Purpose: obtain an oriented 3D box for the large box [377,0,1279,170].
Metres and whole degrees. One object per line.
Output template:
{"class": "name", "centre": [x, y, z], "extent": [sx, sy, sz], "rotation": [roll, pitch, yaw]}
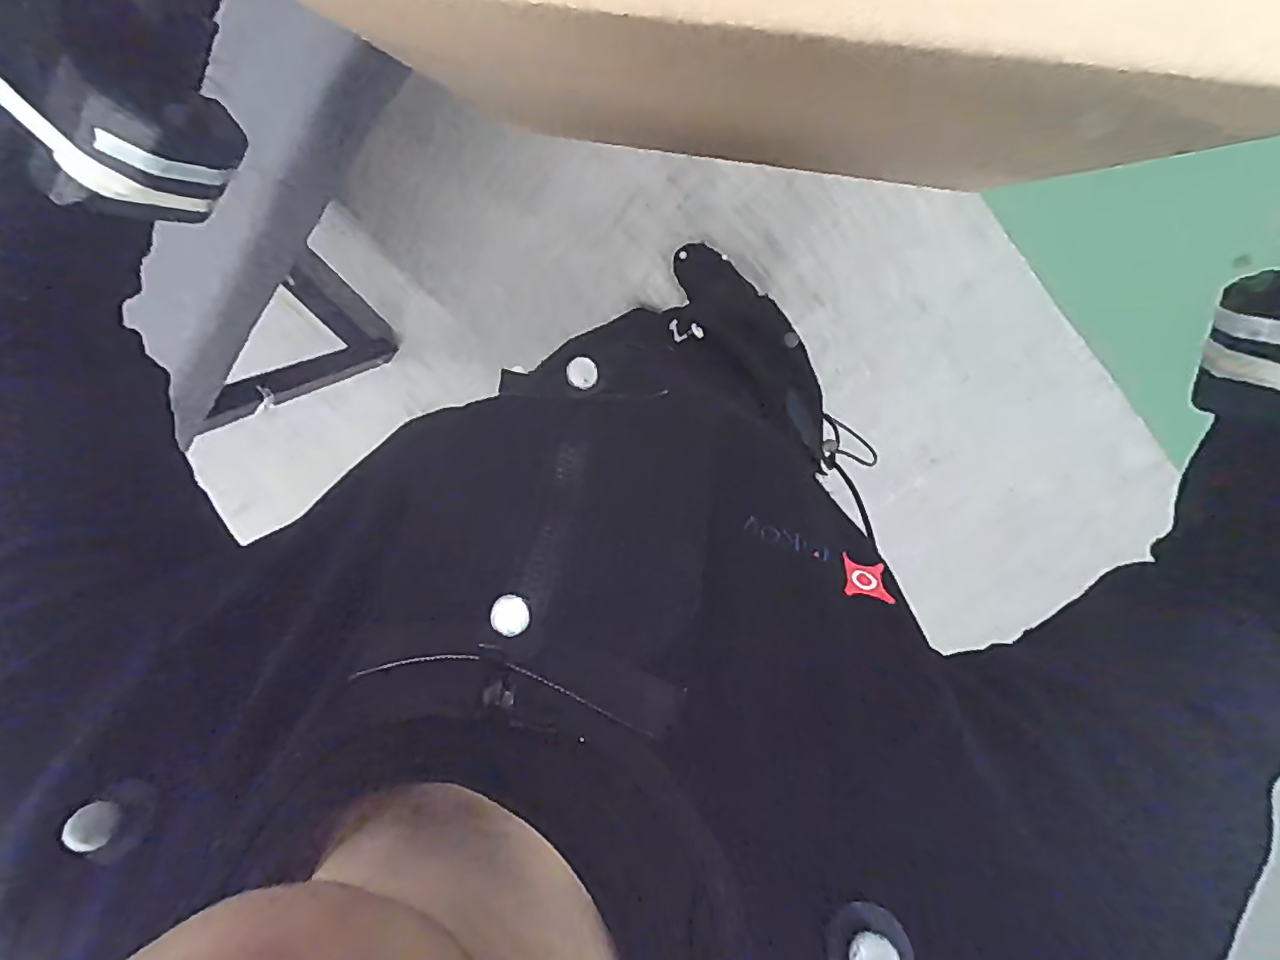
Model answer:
{"class": "large box", "centre": [0.093, -0.362, 0.257], "extent": [0.408, 0.320, 0.320], "rotation": [8, 115, 1]}
